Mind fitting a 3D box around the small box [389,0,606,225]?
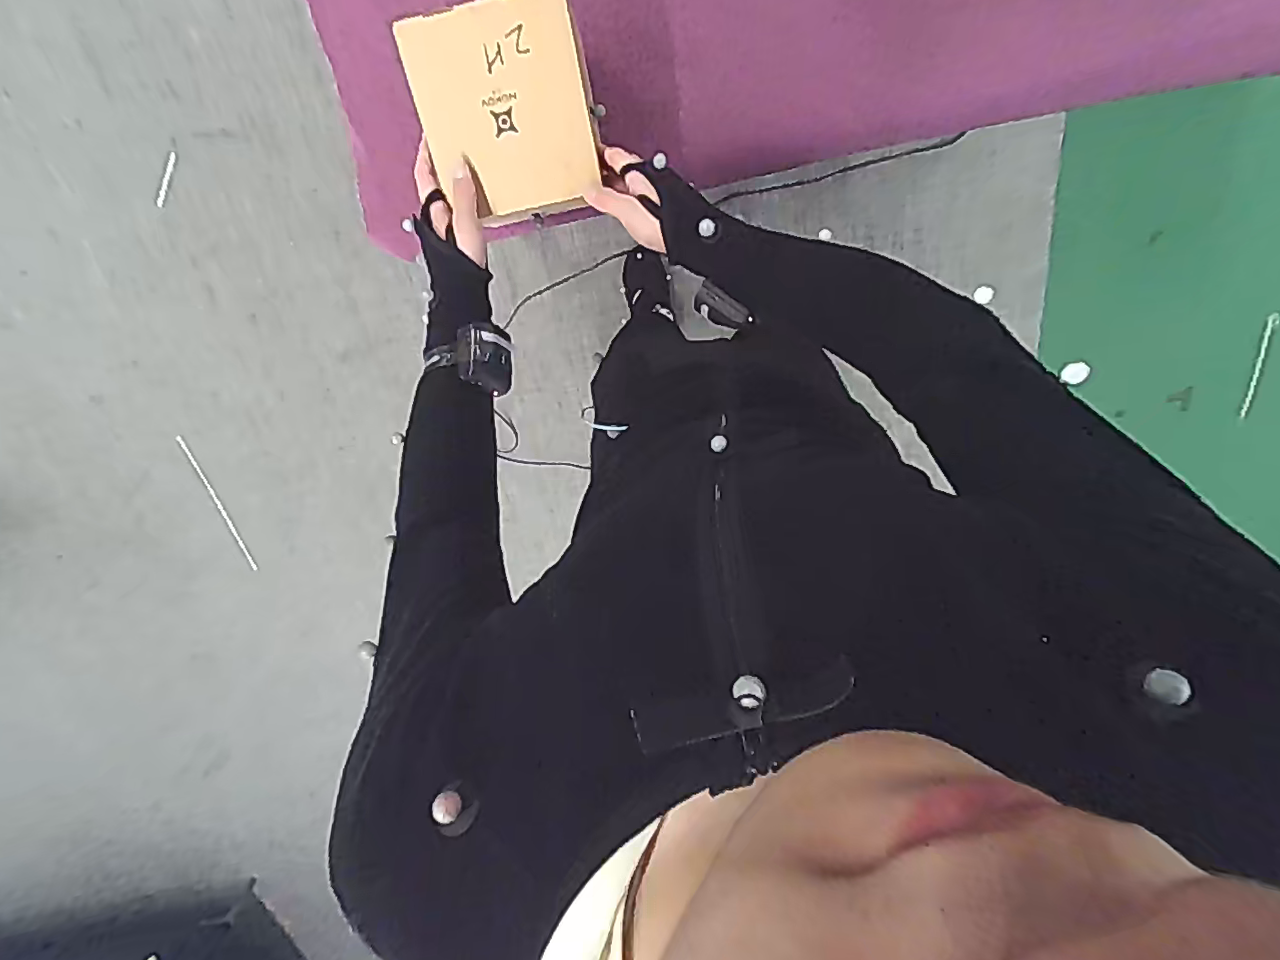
[{"bbox_3d":[-0.135,-0.391,0.595,0.168,0.176,0.179,-10,115,4],"label":"small box"}]
